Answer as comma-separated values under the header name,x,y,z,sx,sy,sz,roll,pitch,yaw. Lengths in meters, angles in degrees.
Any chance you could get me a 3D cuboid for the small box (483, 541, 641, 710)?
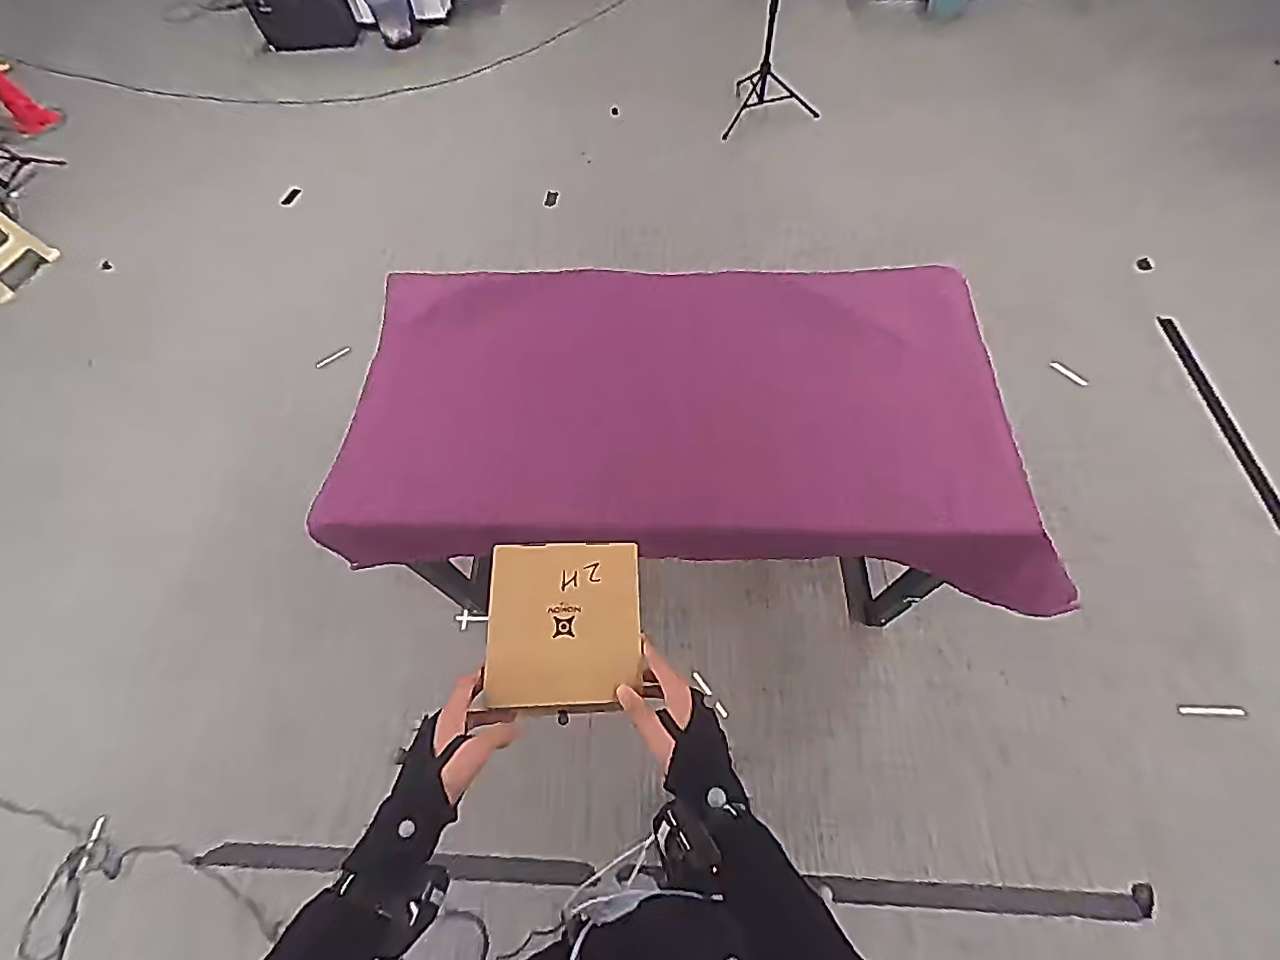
name,x,y,z,sx,sy,sz,roll,pitch,yaw
small box,-0.086,0.184,0.660,0.168,0.176,0.179,0,64,-5
